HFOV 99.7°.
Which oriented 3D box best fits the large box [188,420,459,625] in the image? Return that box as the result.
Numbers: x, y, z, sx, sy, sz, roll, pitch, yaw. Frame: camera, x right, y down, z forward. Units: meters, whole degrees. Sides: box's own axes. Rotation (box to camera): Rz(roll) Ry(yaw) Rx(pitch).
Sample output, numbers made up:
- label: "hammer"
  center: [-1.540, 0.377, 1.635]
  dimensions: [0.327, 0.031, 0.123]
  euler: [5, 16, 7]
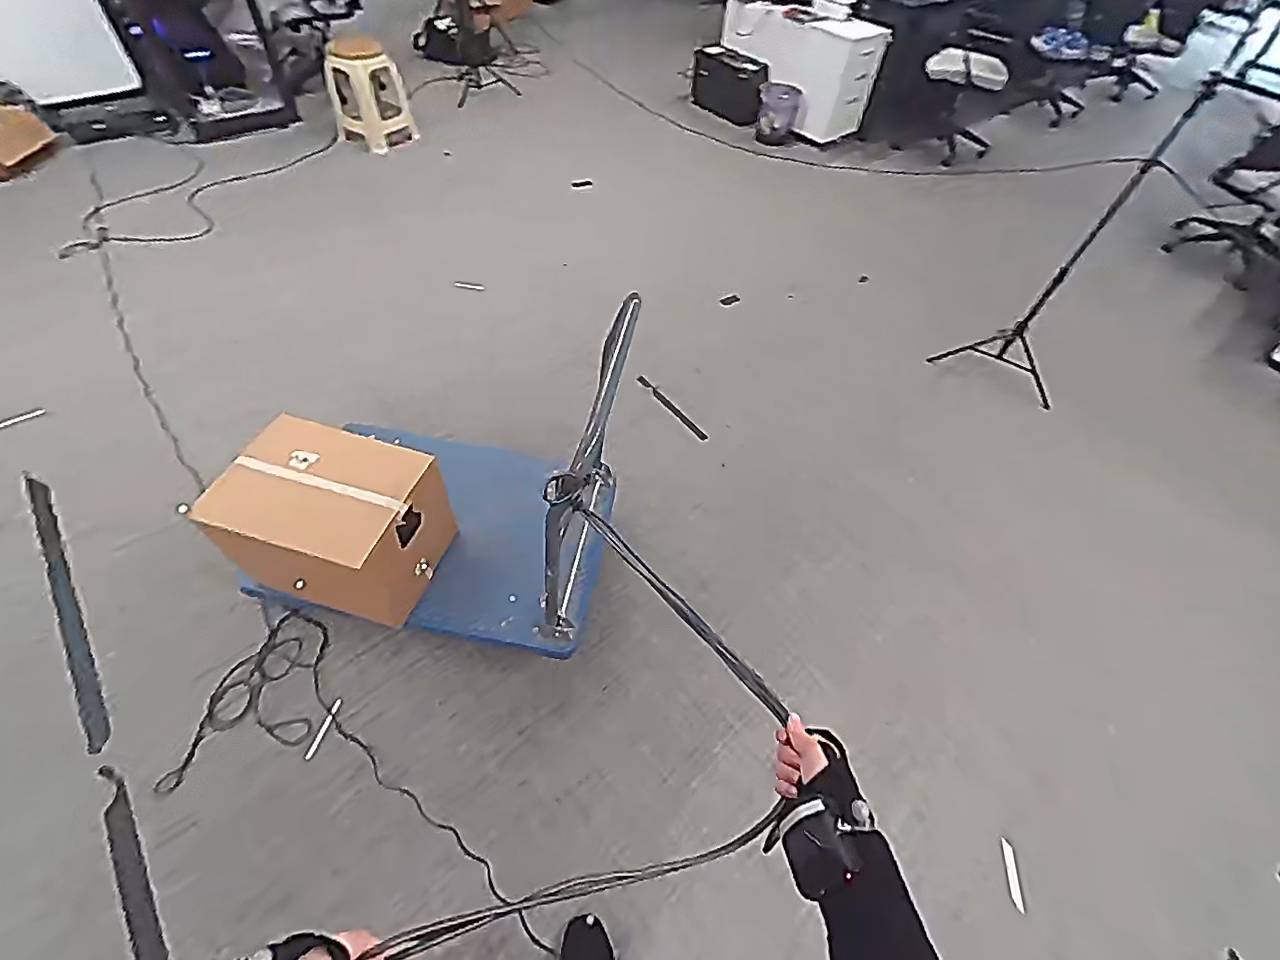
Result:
- label: "large box"
  center: [-0.710, 0.107, 1.297]
  dimensions: [0.408, 0.320, 0.320]
  euler: [15, 52, 6]
